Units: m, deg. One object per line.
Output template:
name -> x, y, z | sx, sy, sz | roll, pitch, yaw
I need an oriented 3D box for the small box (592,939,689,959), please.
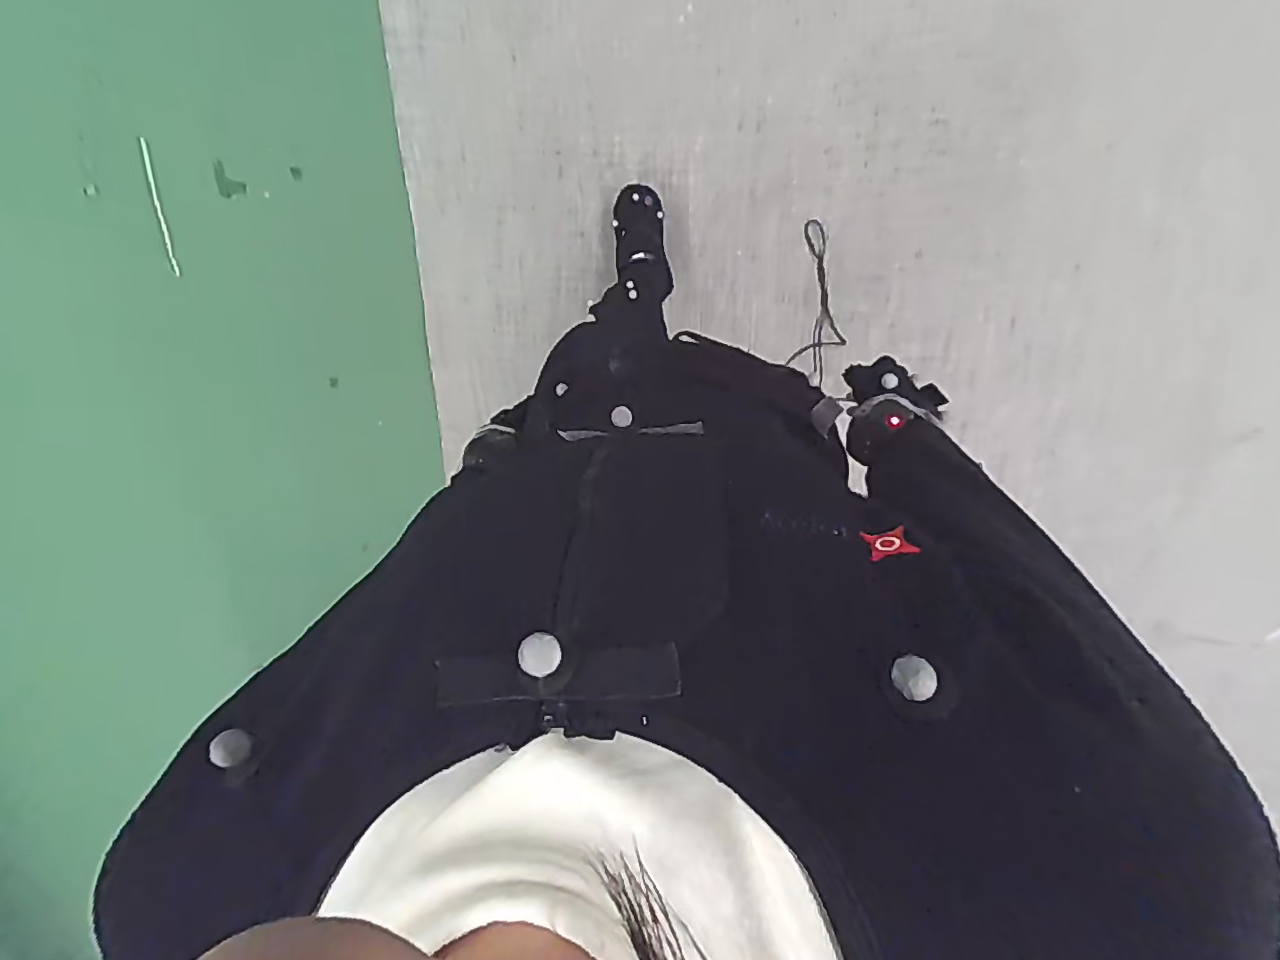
small box -> -0.006, 0.940, 0.933 | 0.179, 0.176, 0.168 | -3, 110, 10
